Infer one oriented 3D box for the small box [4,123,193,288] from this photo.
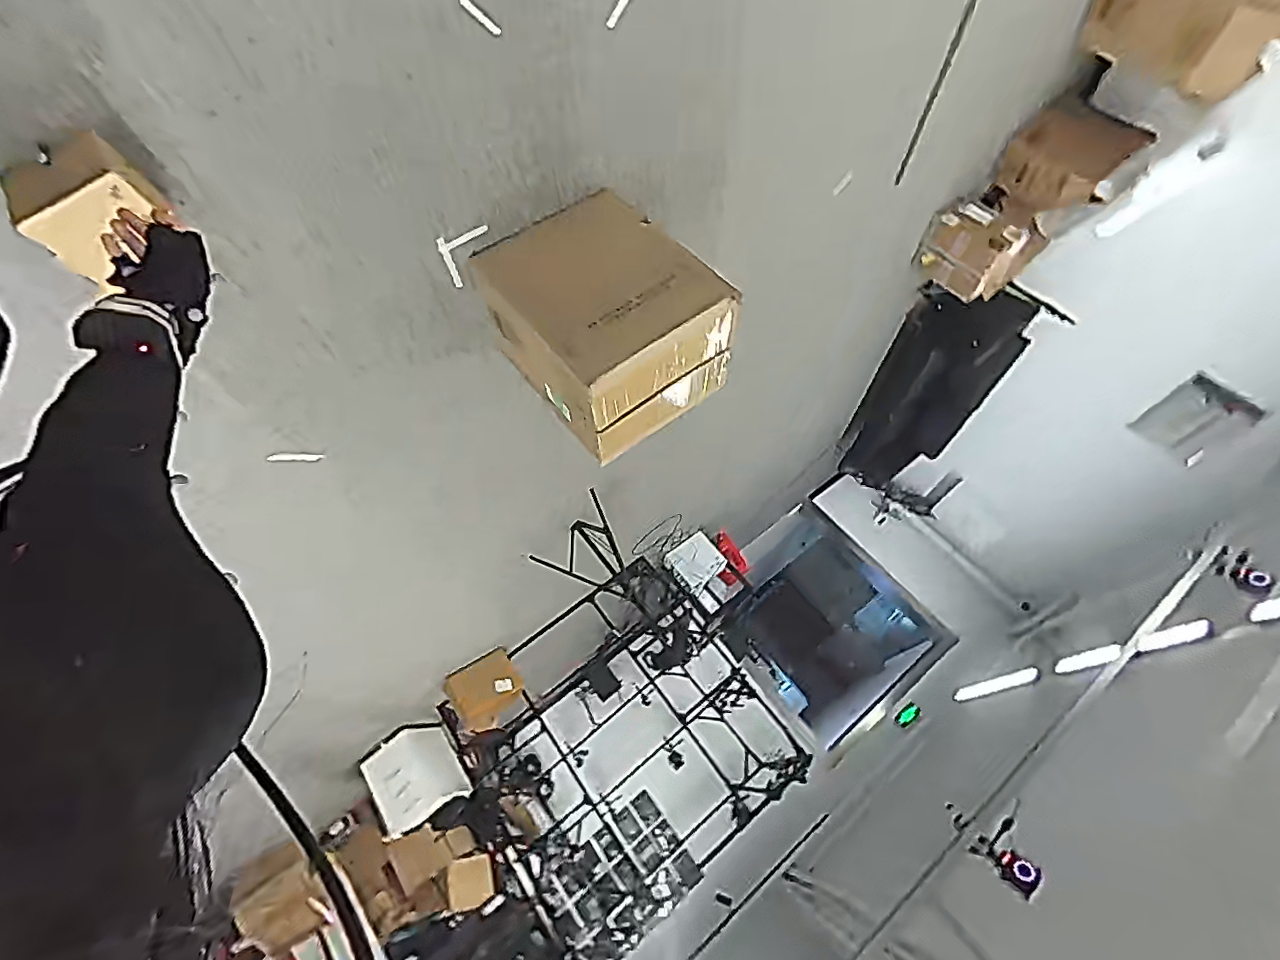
[{"bbox_3d":[-0.969,-0.492,0.971,0.179,0.176,0.168,-37,157,-9],"label":"small box"}]
